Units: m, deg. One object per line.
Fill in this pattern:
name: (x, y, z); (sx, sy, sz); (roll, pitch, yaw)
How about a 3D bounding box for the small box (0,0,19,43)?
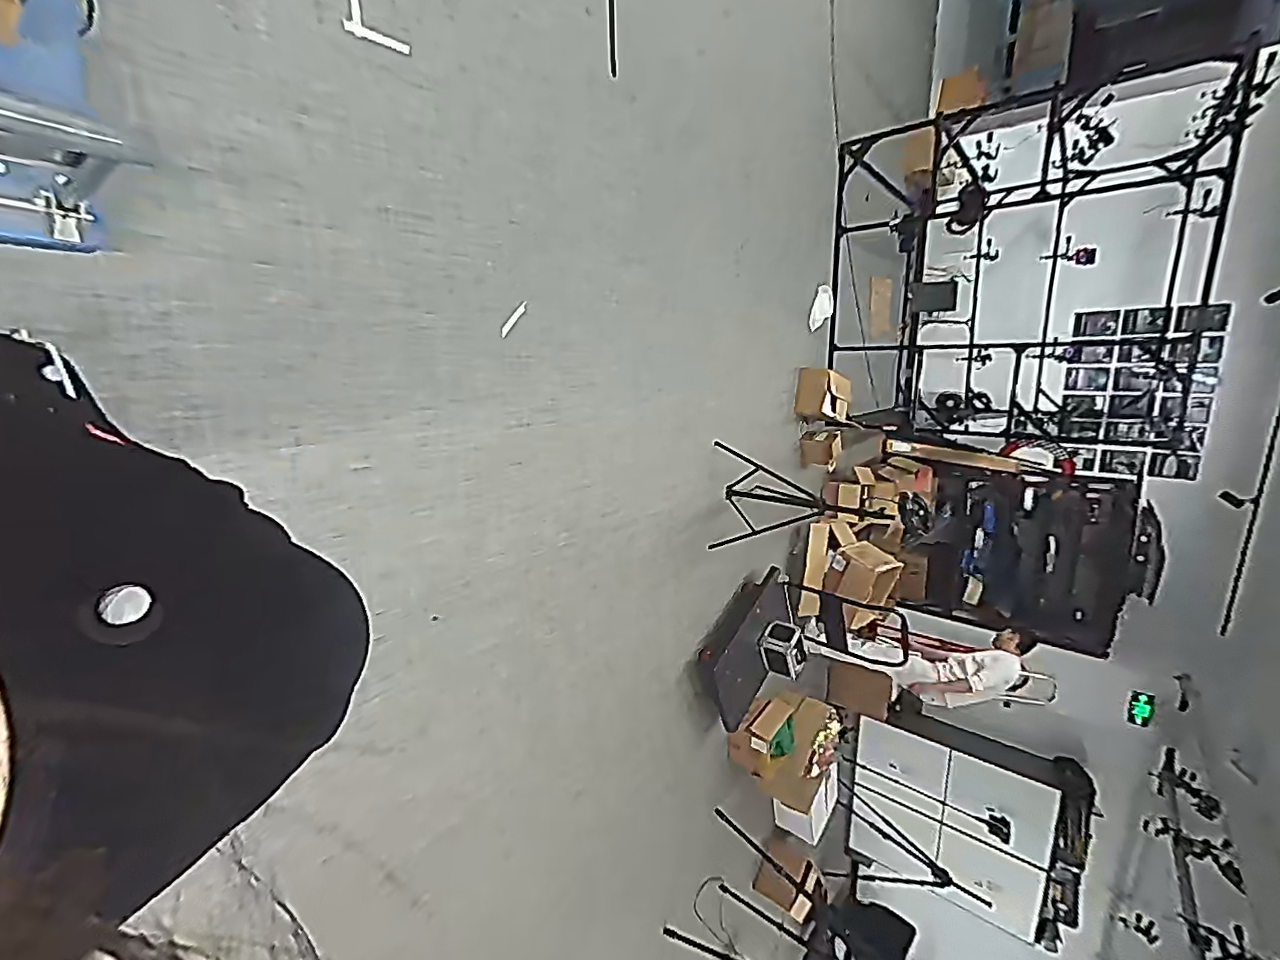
small box: (-0.973, -0.726, 0.714); (0.179, 0.176, 0.168); (-19, 112, -48)
